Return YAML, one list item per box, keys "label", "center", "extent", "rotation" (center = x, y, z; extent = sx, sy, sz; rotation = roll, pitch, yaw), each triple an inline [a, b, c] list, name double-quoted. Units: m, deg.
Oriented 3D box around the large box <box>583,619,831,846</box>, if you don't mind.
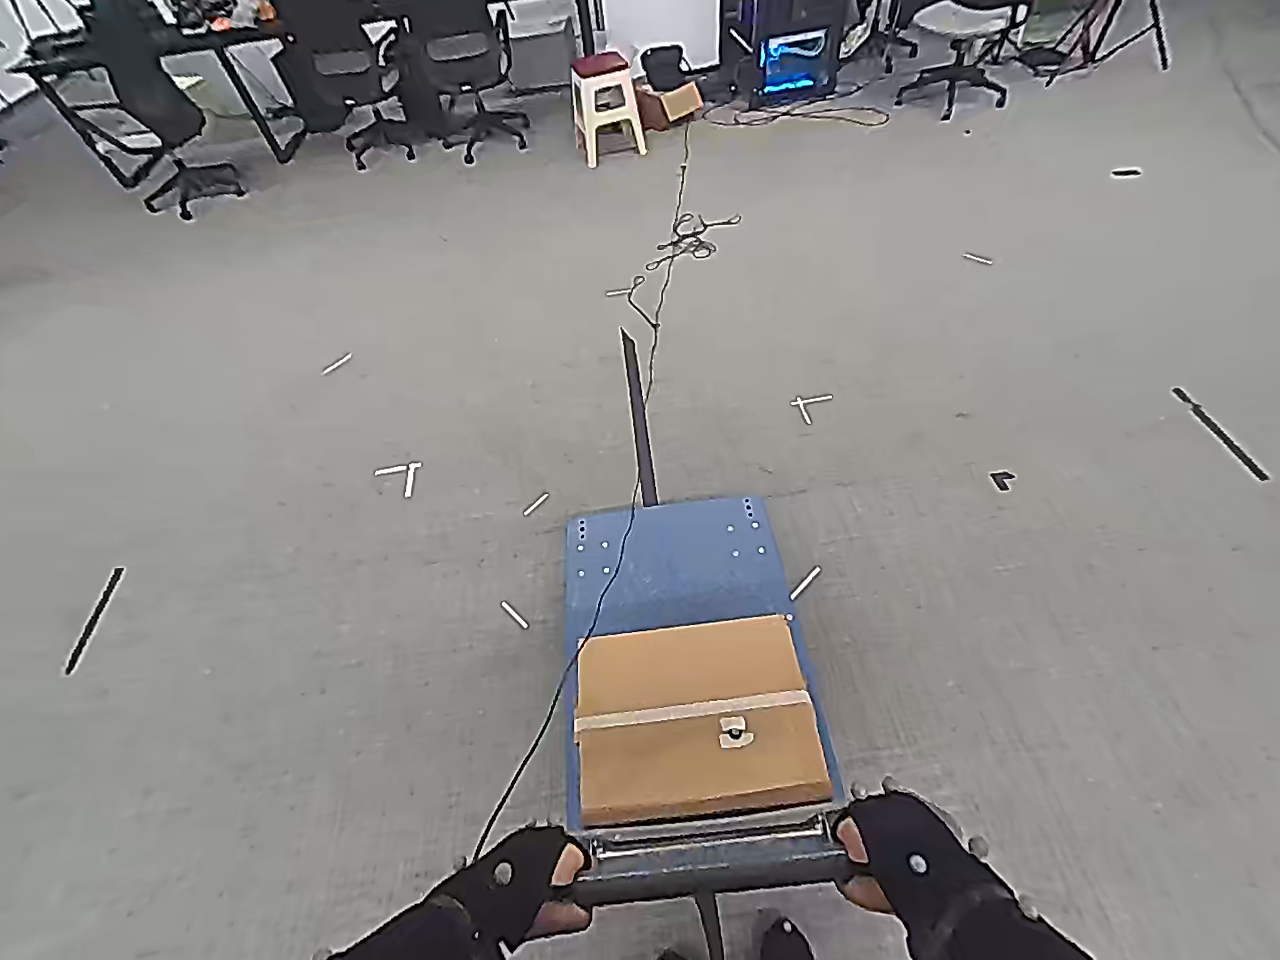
- label: "large box"
  center: [0.111, 0.508, 1.077]
  extent: [0.408, 0.320, 0.320]
  rotation: [-7, 52, 1]
